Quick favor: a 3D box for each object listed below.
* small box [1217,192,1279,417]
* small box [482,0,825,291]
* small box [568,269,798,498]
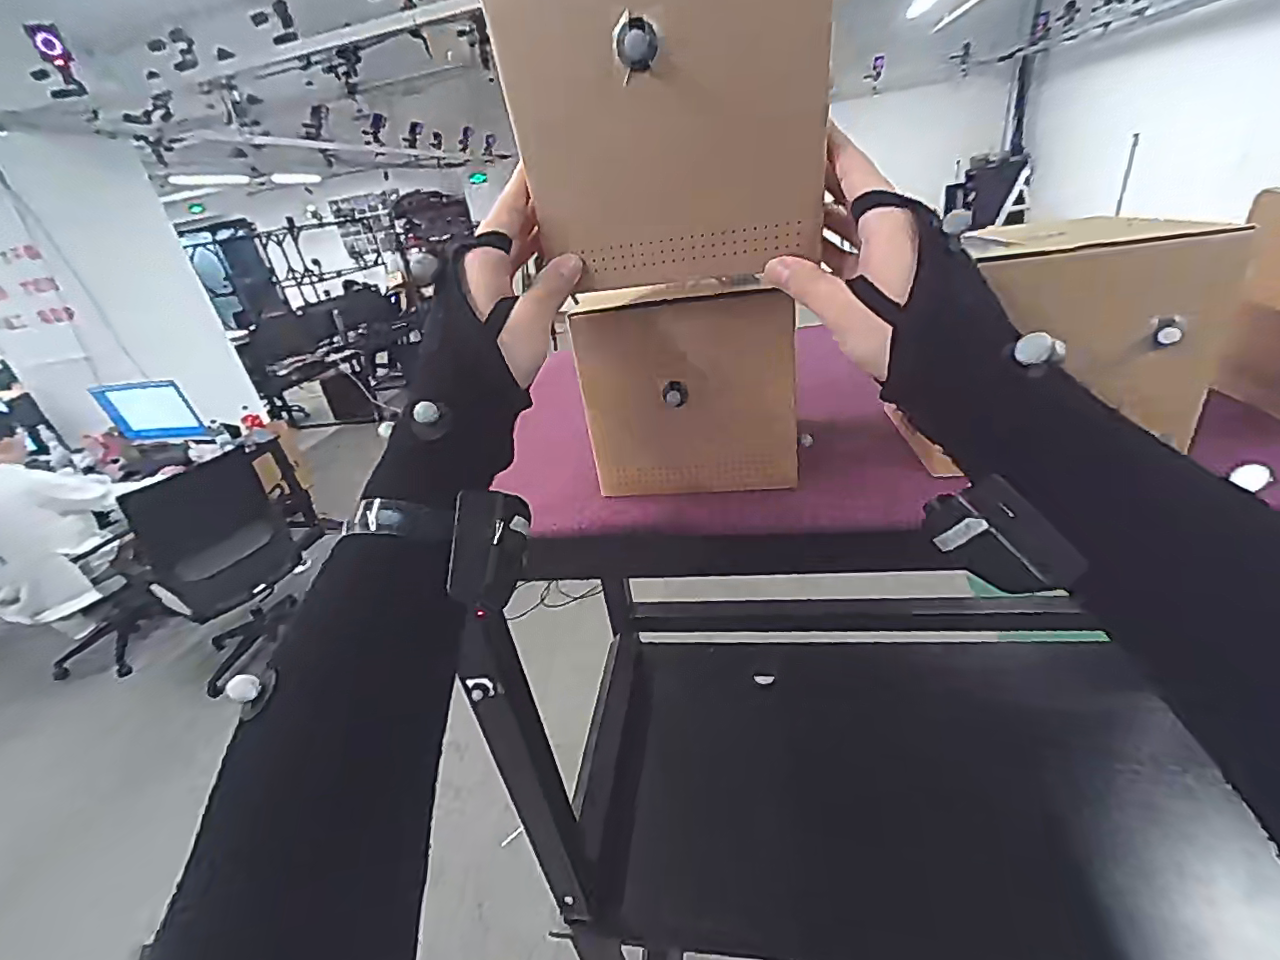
[{"bbox_3d":[0.594,-0.130,0.399,0.179,0.176,0.168,-3,30,13],"label":"small box"},{"bbox_3d":[0.025,-0.239,0.366,0.179,0.176,0.168,-2,39,11],"label":"small box"},{"bbox_3d":[0.053,-0.095,0.508,0.179,0.176,0.168,-3,27,13],"label":"small box"}]
